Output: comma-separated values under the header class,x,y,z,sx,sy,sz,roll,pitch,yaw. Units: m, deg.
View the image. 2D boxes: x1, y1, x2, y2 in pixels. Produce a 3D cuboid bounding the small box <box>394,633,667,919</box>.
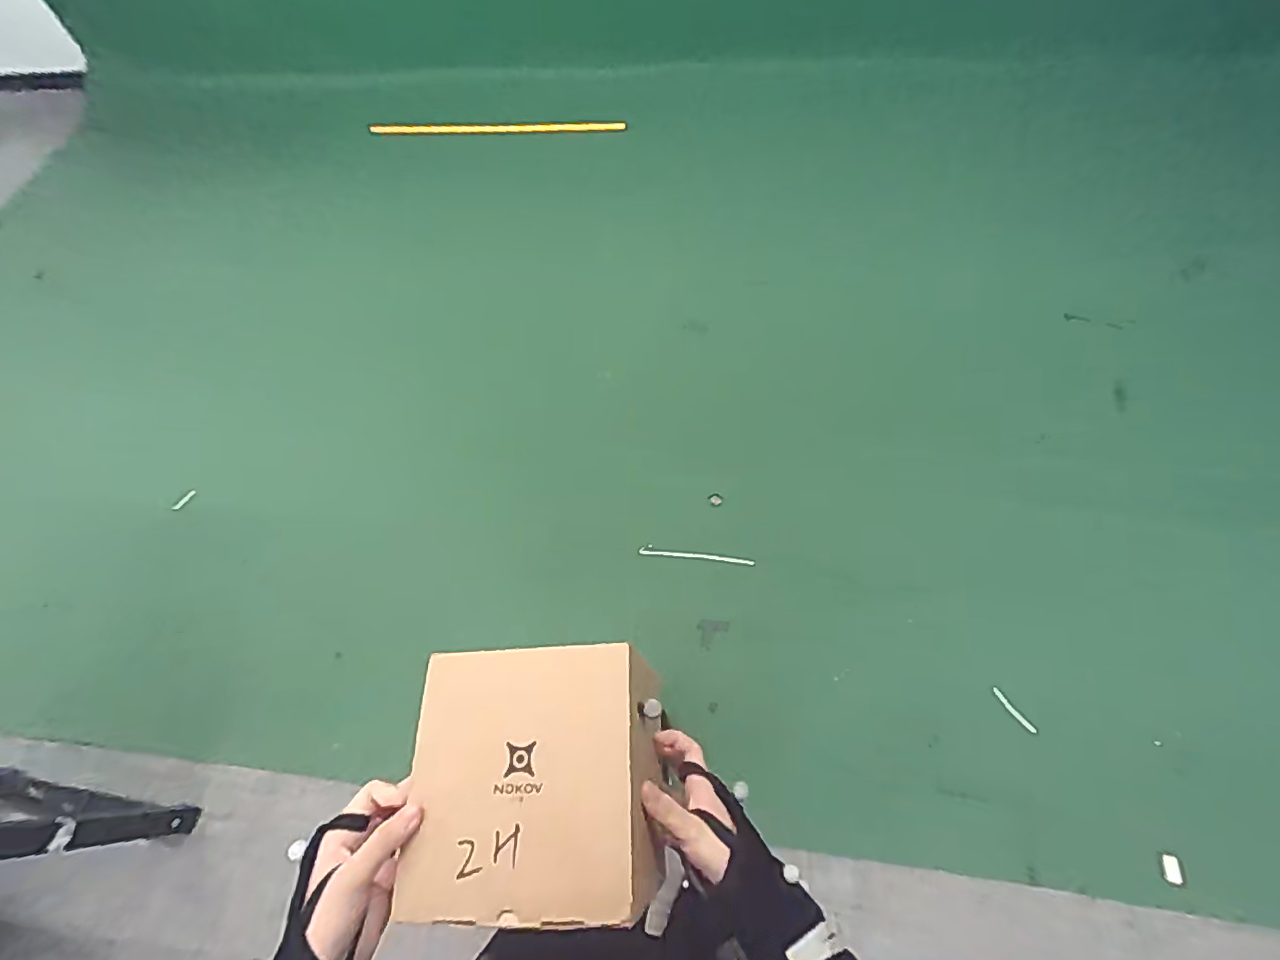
class,x,y,z,sx,sy,sz,roll,pitch,yaw
small box,-0.068,0.238,0.451,0.168,0.176,0.179,-5,60,7
